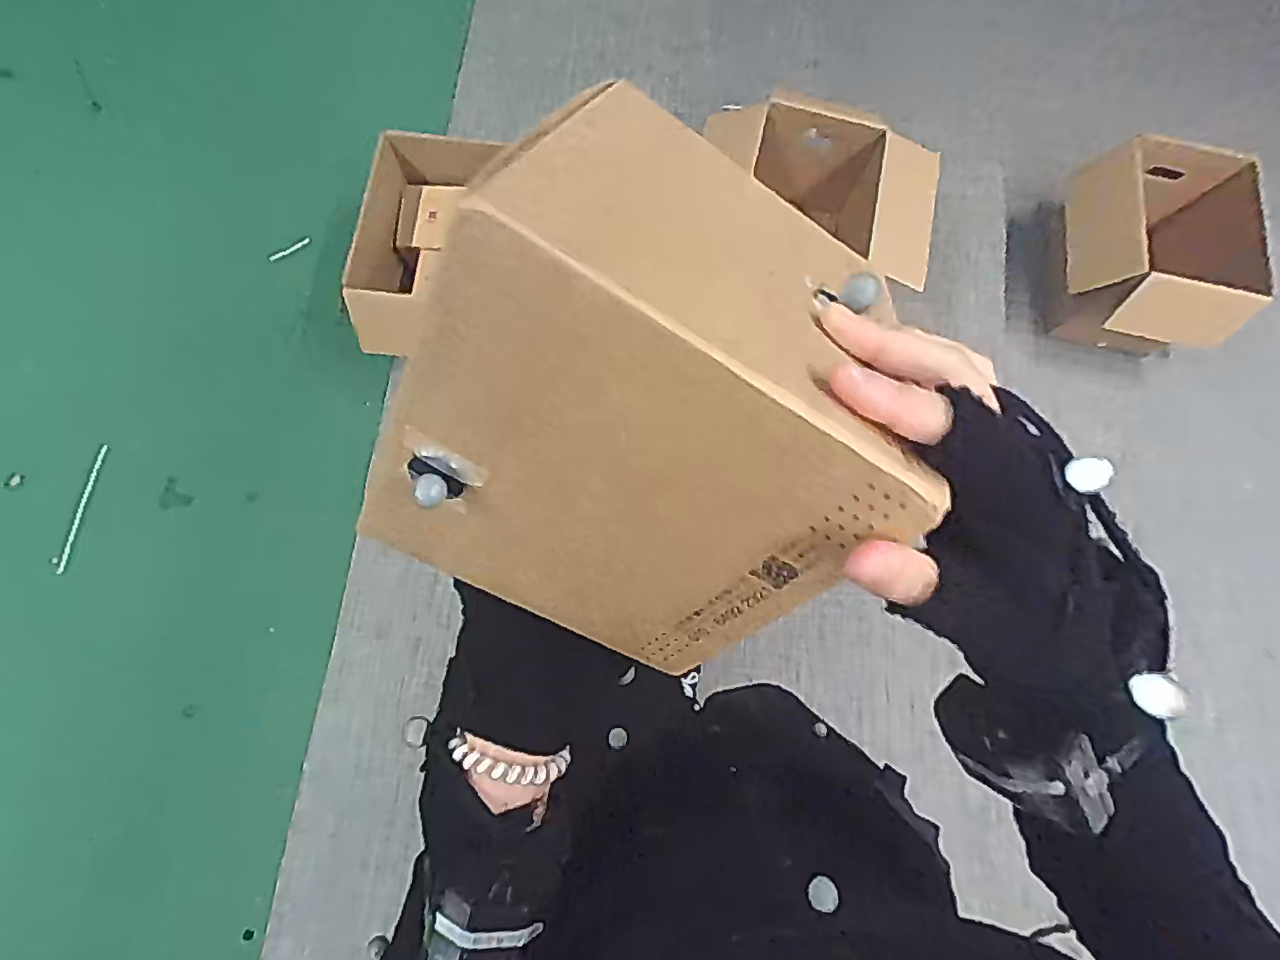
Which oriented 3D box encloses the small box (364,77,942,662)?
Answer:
[{"bbox_3d":[0.005,-0.046,0.260,0.176,0.168,0.179,29,43,-12],"label":"small box"}]
